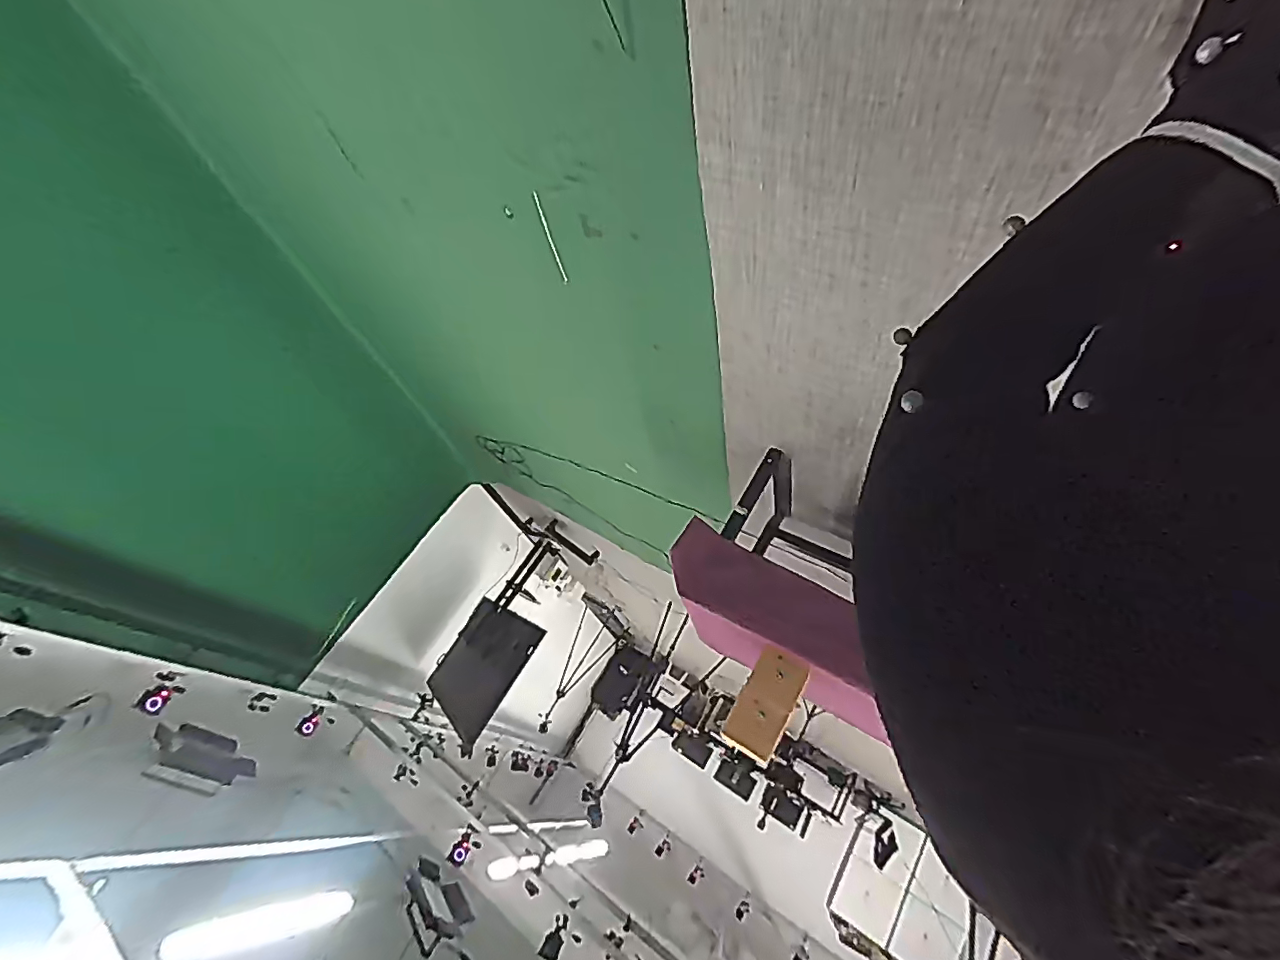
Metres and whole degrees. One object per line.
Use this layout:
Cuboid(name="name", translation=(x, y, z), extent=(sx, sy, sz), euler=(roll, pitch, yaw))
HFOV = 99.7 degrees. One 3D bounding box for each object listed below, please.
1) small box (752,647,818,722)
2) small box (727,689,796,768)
Cuboid(name="small box", translation=(0.493, 0.694, 1.842), extent=(0.168, 0.176, 0.179), euler=(24, 157, 26))
Cuboid(name="small box", translation=(0.405, 0.823, 1.793), extent=(0.168, 0.176, 0.179), euler=(24, 156, 26))
